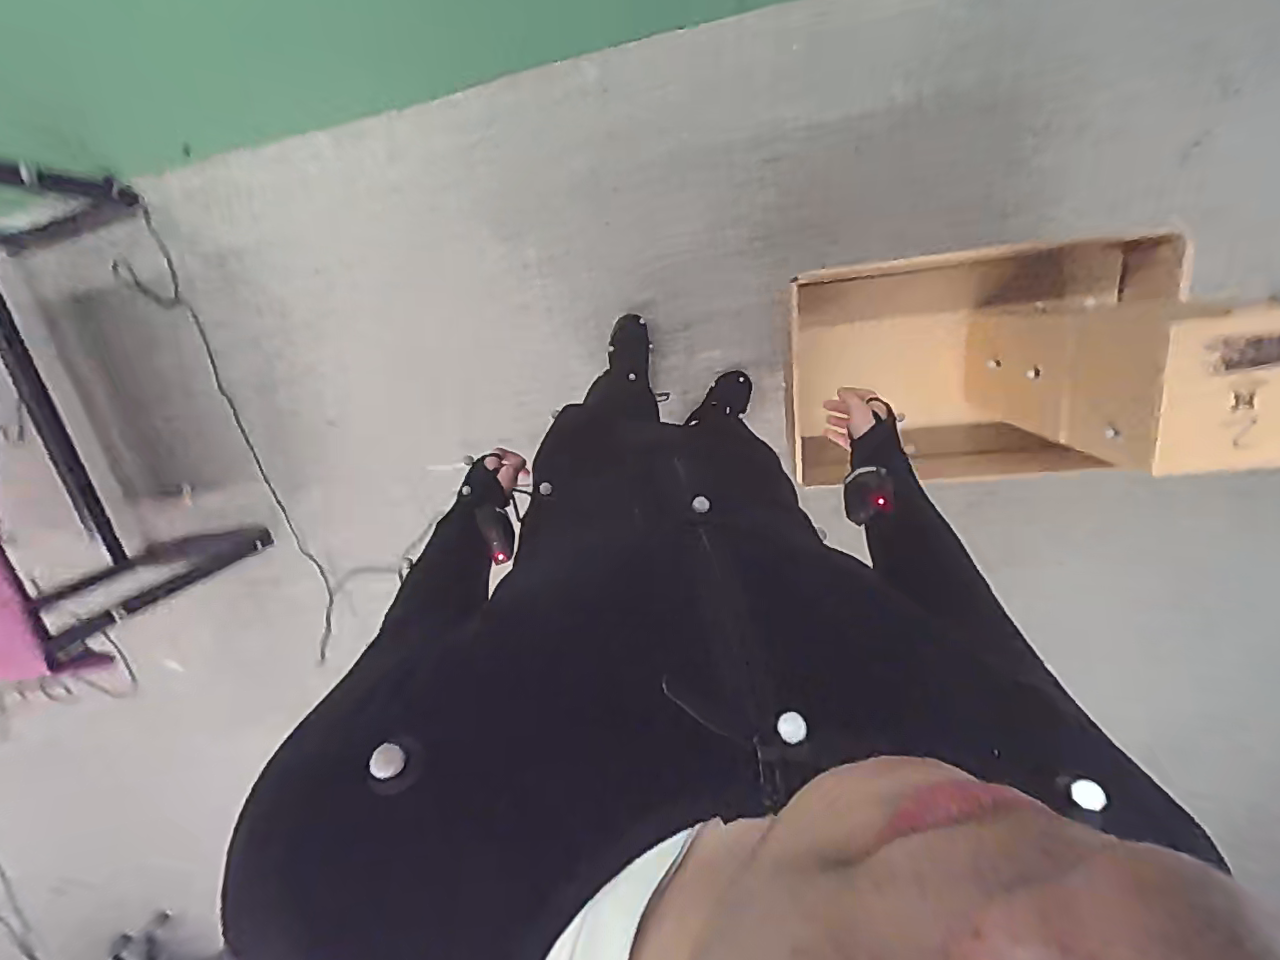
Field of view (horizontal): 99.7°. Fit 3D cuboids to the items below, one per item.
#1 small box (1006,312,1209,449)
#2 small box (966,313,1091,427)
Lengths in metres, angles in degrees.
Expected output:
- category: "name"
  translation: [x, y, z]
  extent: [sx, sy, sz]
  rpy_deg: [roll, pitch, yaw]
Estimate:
- category: "small box"
  translation: [0.685, -0.156, 0.818]
  extent: [0.168, 0.176, 0.179]
  rpy_deg: [-5, 105, 10]
- category: "small box"
  translation: [0.711, -0.203, 0.973]
  extent: [0.168, 0.176, 0.179]
  rpy_deg: [-4, 106, 9]
